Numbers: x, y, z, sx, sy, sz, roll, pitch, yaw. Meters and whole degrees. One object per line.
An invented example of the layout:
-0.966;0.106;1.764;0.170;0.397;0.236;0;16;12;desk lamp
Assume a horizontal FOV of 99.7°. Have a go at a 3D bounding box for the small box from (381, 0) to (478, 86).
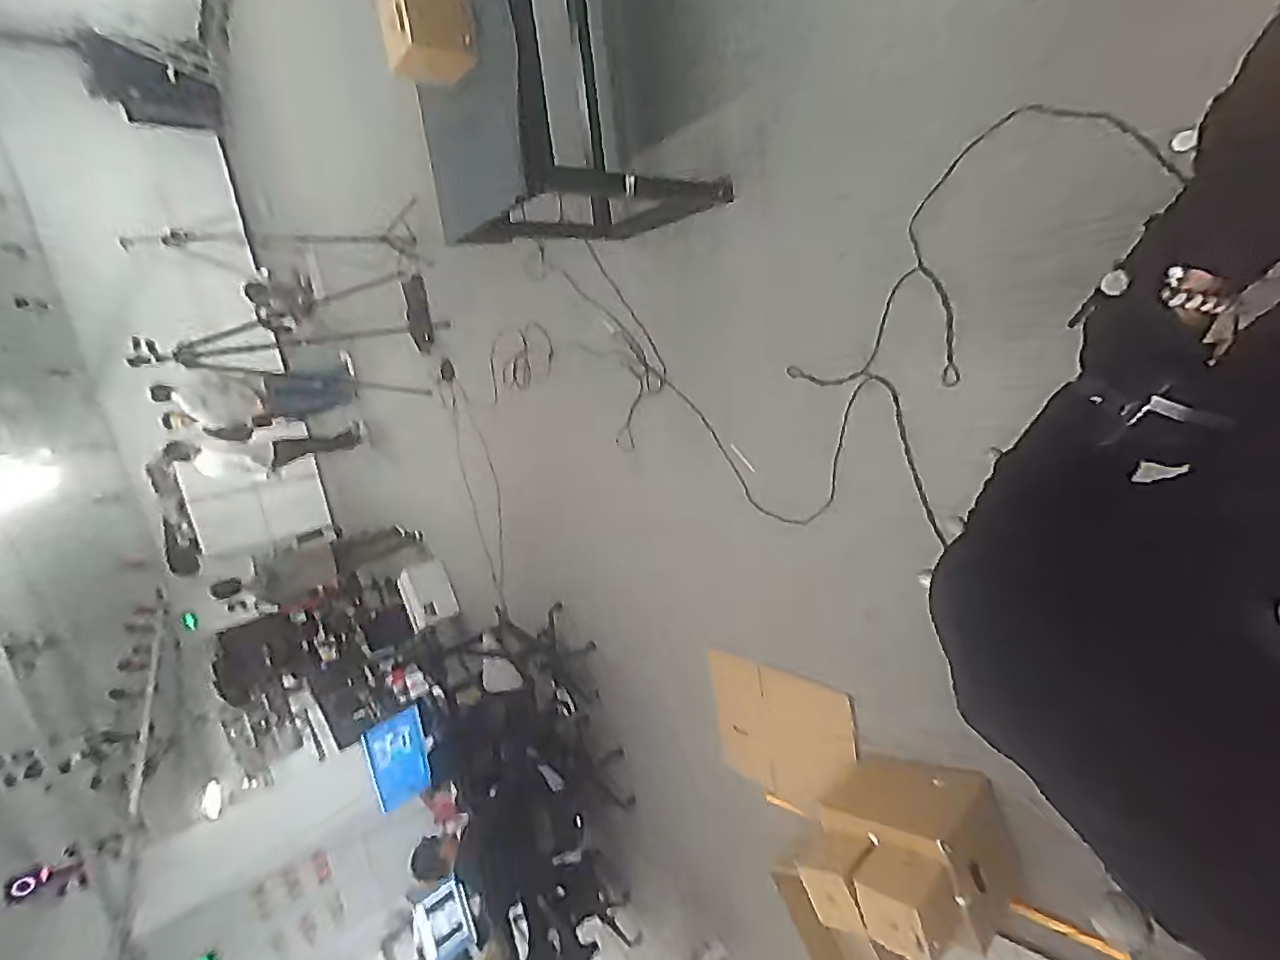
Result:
-0.515;-1.113;1.338;0.179;0.176;0.168;12;113;50;small box
